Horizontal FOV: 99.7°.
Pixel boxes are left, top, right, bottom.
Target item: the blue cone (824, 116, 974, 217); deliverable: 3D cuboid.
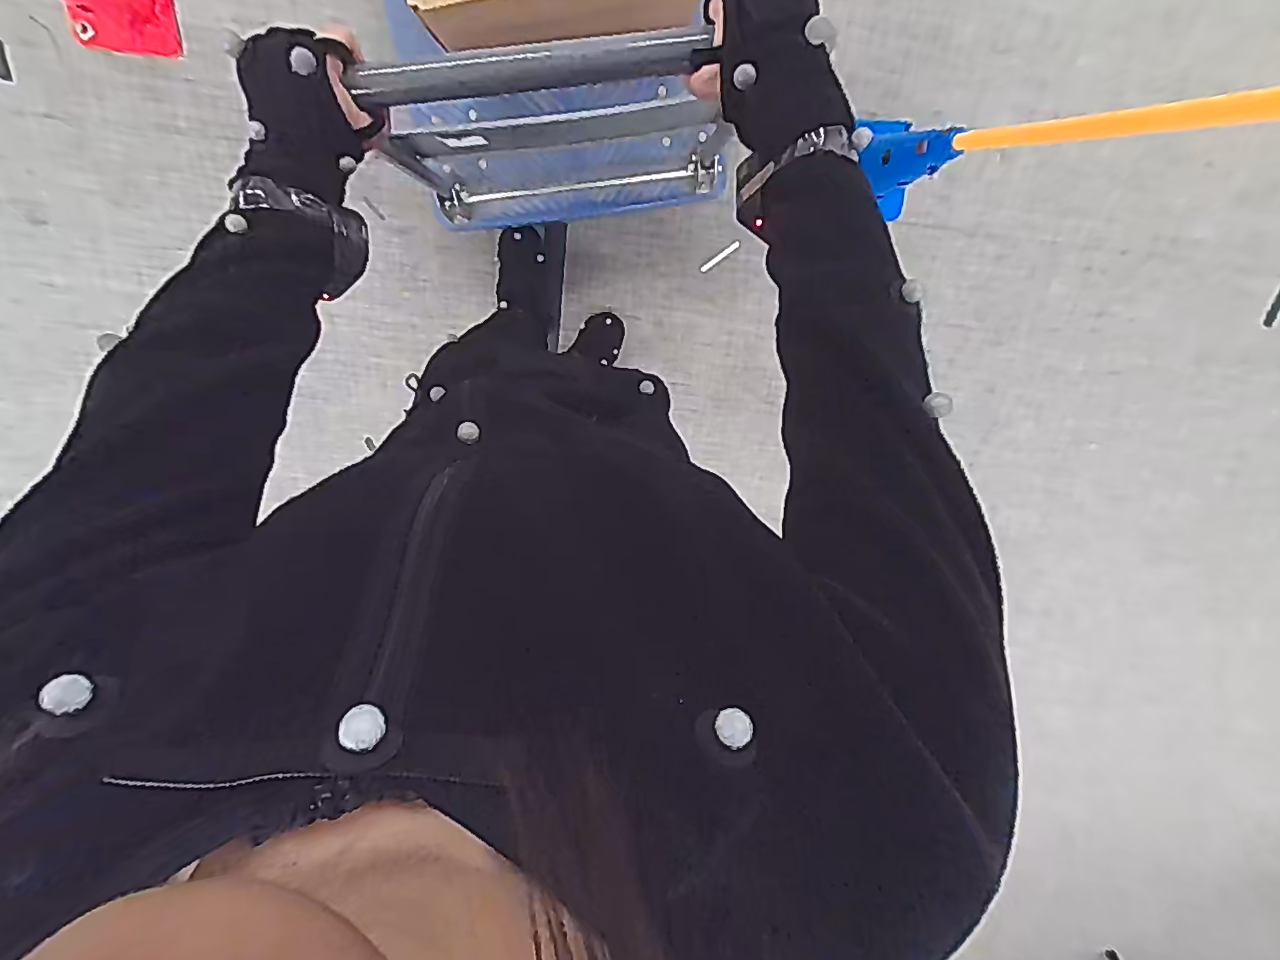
[{"bbox_3d":[0.525,-0.640,1.069,0.193,0.380,0.192,1,112,-4],"label":"blue cone"}]
